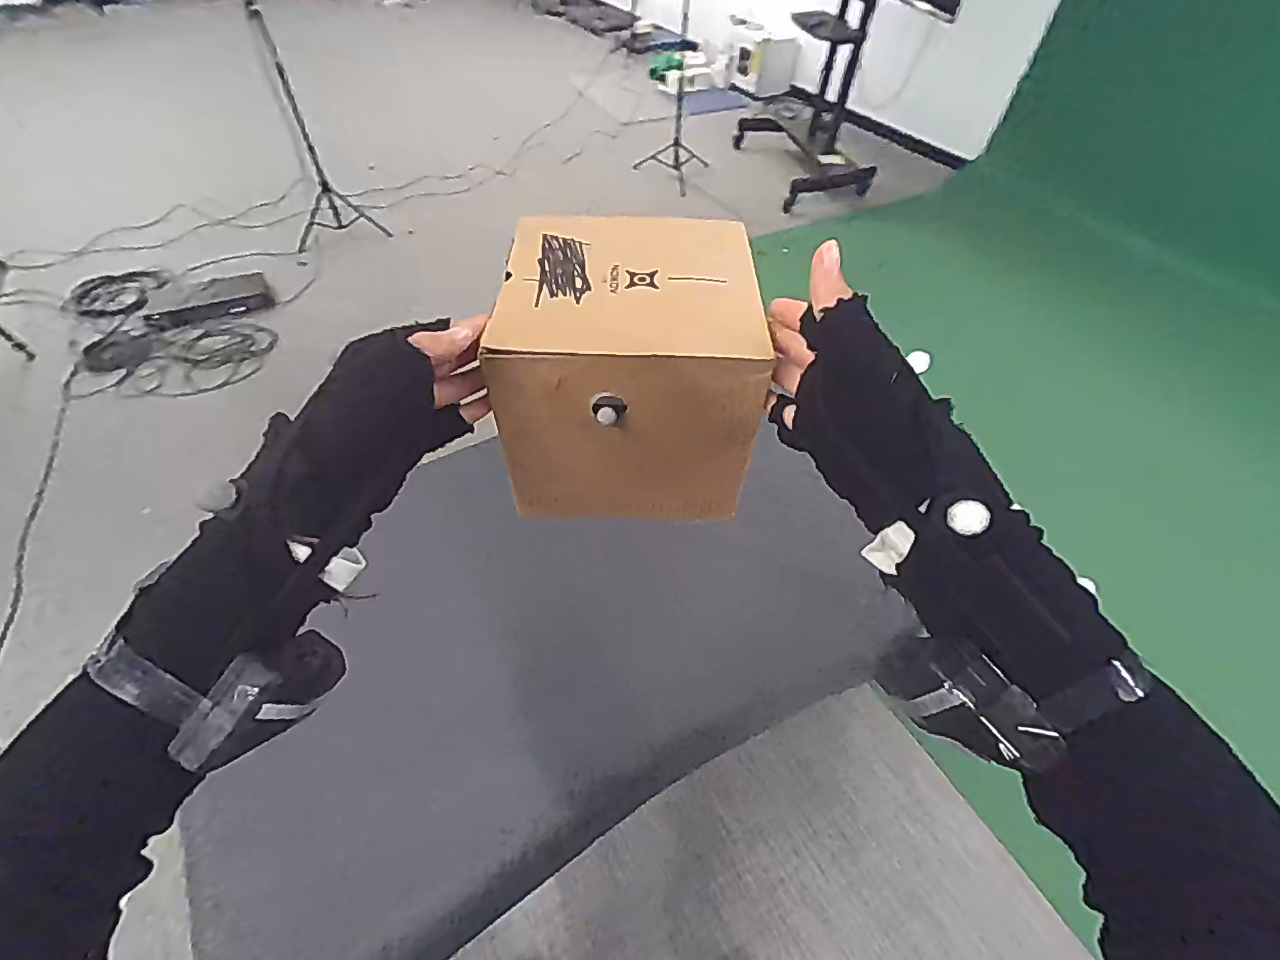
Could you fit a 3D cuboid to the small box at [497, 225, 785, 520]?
[{"bbox_3d":[0.002,-0.081,0.431,0.179,0.176,0.168,2,52,-1],"label":"small box"}]
